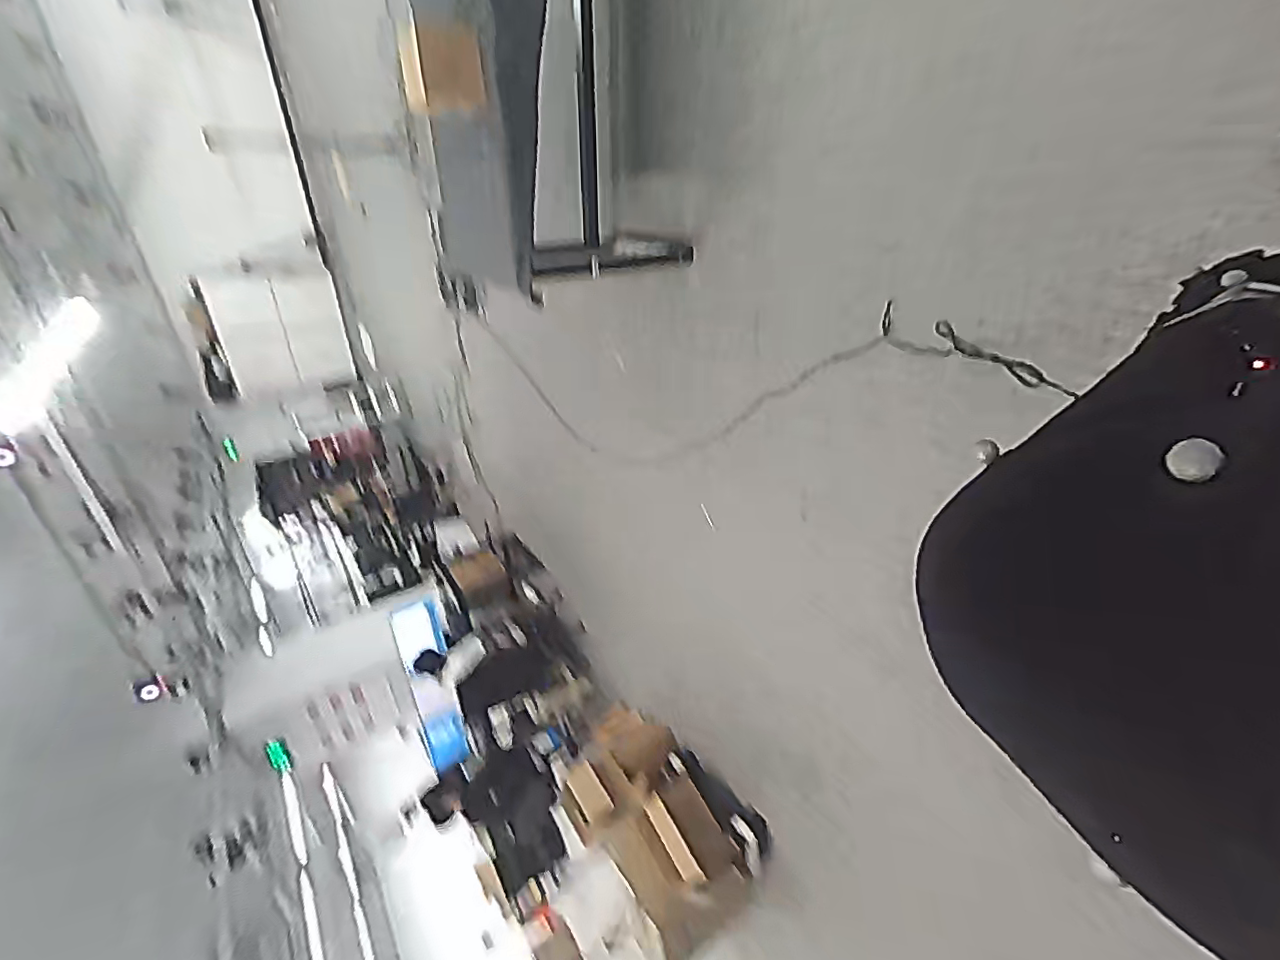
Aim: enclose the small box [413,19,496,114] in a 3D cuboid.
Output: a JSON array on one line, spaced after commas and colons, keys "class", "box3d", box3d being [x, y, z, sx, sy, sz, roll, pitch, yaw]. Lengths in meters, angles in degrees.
[{"class": "small box", "box3d": [-0.507, -1.129, 1.494, 0.168, 0.176, 0.179, 30, 130, 51]}]
